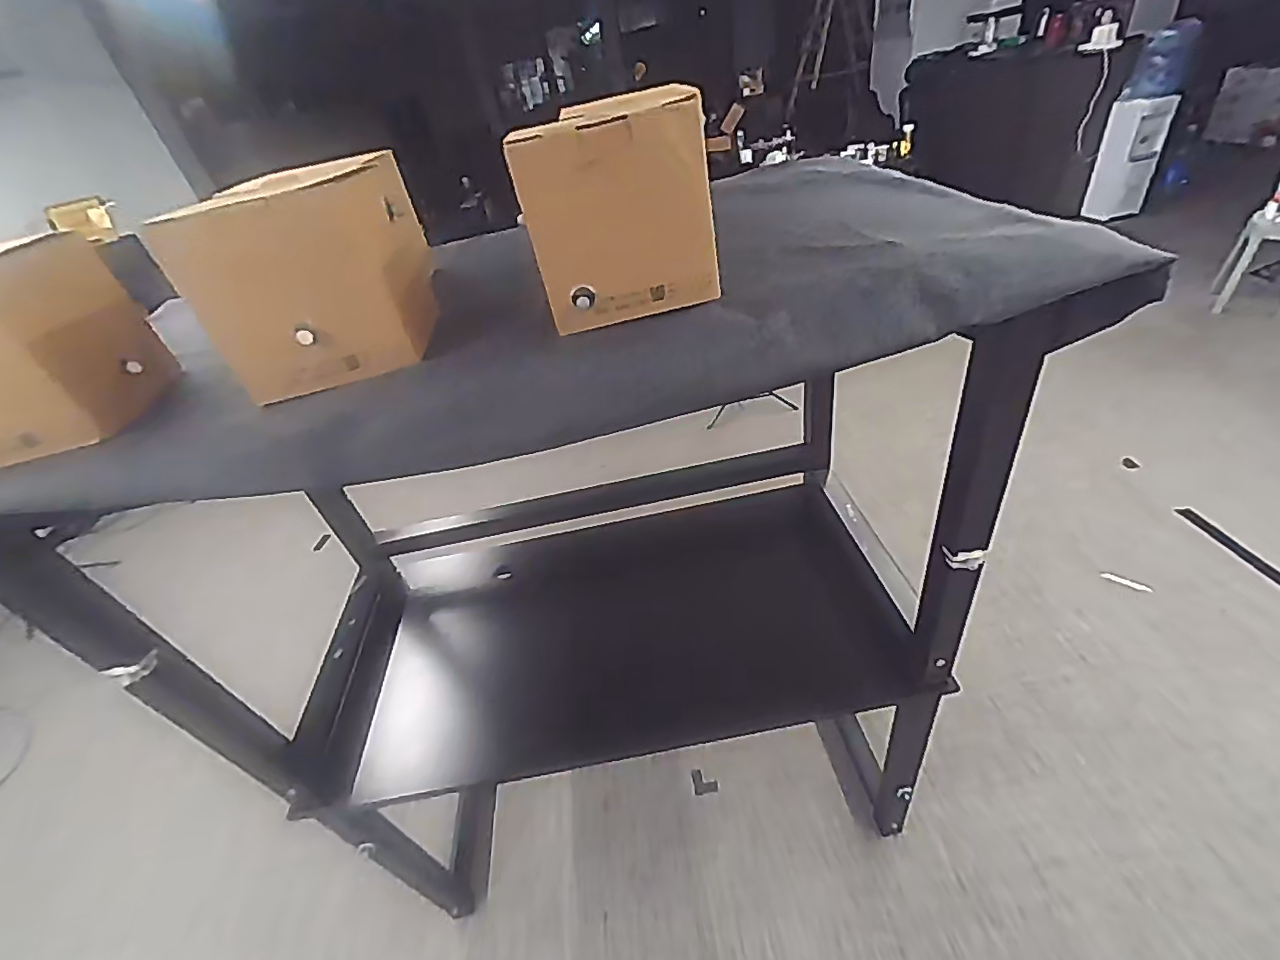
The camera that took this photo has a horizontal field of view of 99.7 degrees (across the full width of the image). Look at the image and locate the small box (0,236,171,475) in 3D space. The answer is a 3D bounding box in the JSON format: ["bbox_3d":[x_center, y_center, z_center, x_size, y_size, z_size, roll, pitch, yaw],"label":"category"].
[{"bbox_3d":[-0.628,-0.120,0.536,0.168,0.176,0.179,-16,38,-4],"label":"small box"}]

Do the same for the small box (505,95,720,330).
[{"bbox_3d":[-0.024,-0.264,0.543,0.168,0.176,0.179,-13,36,0],"label":"small box"}]

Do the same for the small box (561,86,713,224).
[{"bbox_3d":[-0.003,-0.407,0.722,0.168,0.176,0.179,-12,39,2],"label":"small box"}]
